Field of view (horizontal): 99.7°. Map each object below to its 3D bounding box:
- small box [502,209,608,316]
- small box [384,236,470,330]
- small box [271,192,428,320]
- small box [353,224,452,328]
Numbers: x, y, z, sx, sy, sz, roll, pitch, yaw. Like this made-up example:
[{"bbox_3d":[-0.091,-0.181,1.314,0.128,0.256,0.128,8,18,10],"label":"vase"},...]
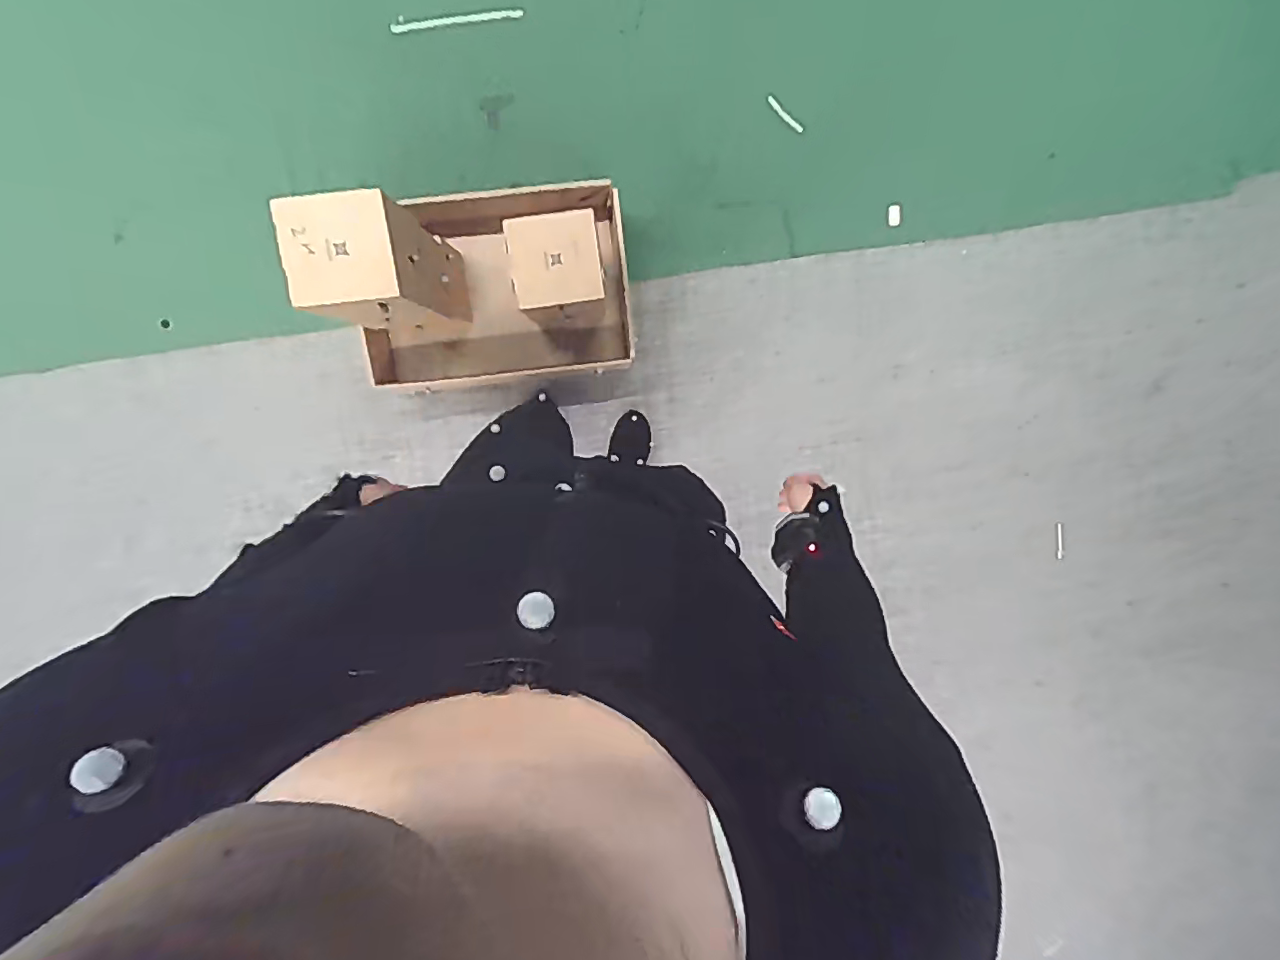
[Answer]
[{"bbox_3d":[-0.165,-0.435,1.106,0.179,0.176,0.168,-8,103,0],"label":"small box"},{"bbox_3d":[-0.506,-0.446,1.254,0.168,0.176,0.179,-8,101,-2],"label":"small box"},{"bbox_3d":[-0.482,-0.376,0.933,0.179,0.176,0.168,-7,100,-2],"label":"small box"},{"bbox_3d":[-0.502,-0.407,1.095,0.179,0.176,0.168,-7,101,-3],"label":"small box"}]
